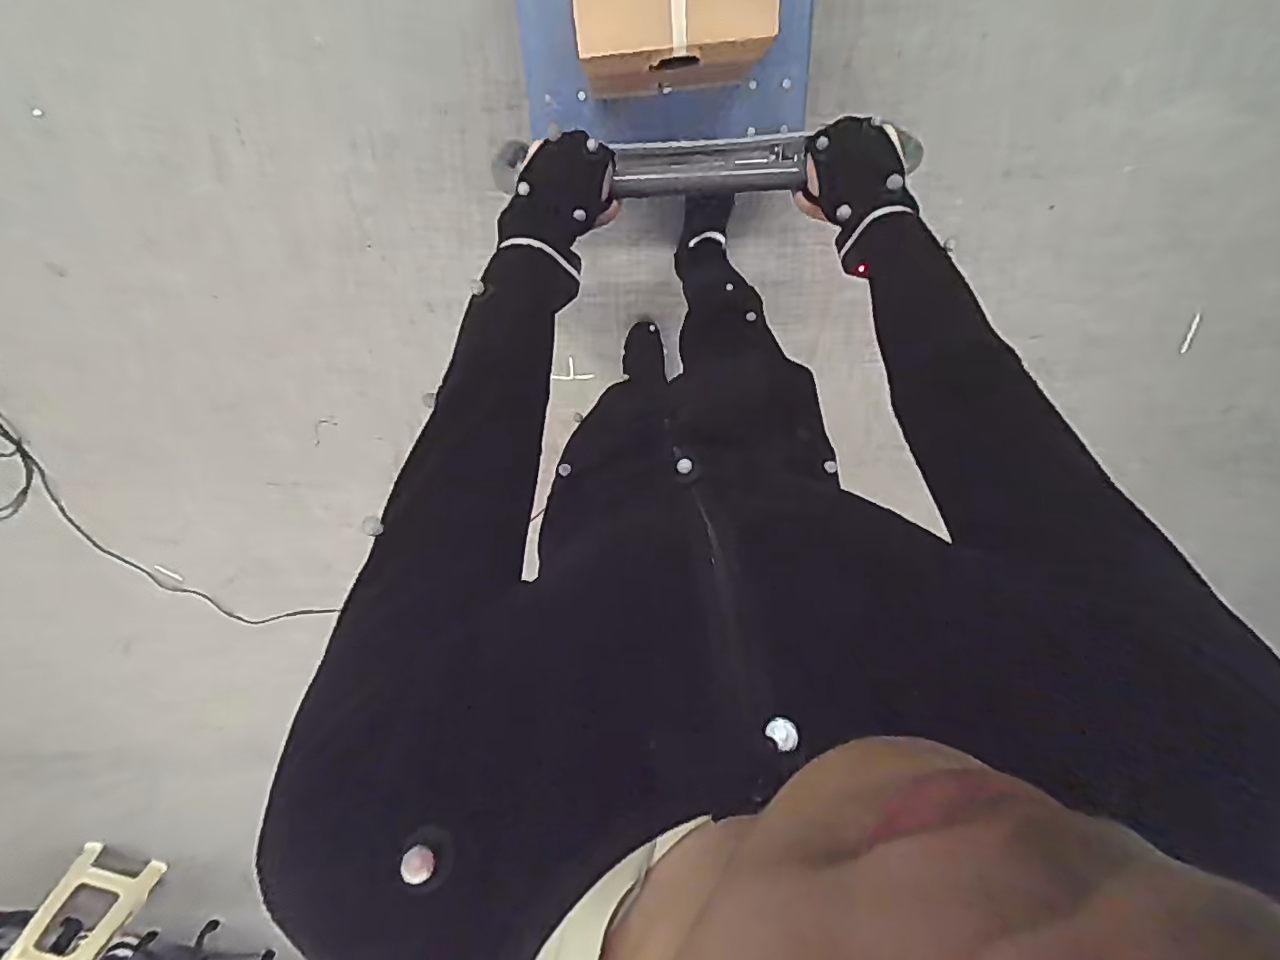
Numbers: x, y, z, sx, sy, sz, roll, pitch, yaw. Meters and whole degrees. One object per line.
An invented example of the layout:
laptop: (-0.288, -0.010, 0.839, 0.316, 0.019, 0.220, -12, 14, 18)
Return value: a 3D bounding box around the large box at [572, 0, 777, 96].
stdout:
large box: (0.040, -0.921, 0.893, 0.320, 0.320, 0.408, -5, 116, 2)
